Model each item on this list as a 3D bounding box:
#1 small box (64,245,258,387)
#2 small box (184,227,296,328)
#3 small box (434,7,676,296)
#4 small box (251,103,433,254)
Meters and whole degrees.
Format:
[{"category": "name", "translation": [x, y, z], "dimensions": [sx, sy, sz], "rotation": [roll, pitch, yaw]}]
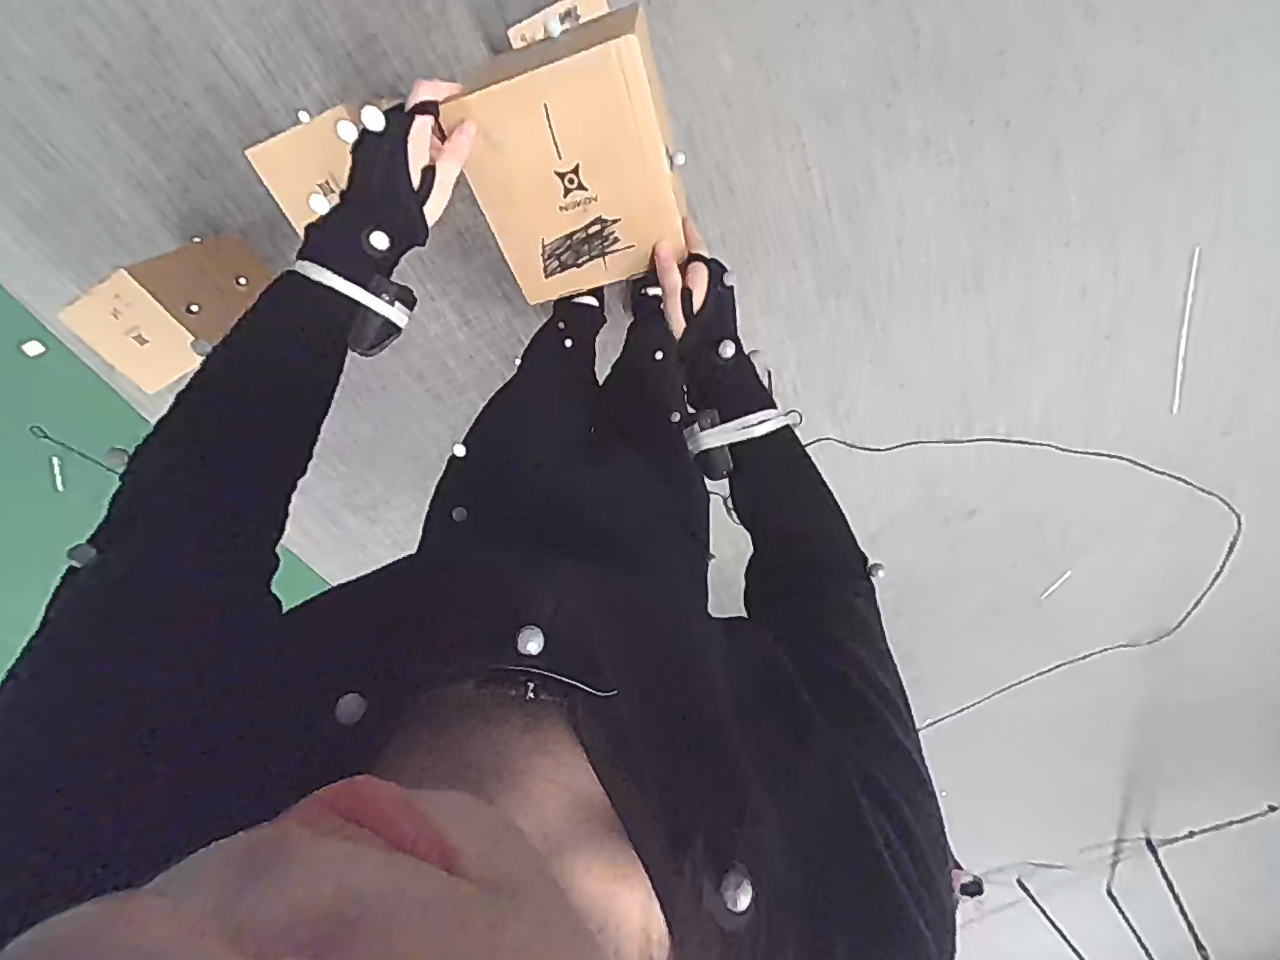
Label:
[{"category": "small box", "translation": [-0.876, -0.310, 1.014], "dimensions": [0.168, 0.176, 0.179], "rotation": [-24, 123, 11]}, {"category": "small box", "translation": [-0.884, -0.407, 1.147], "dimensions": [0.168, 0.176, 0.179], "rotation": [-22, 123, 11]}, {"category": "small box", "translation": [-0.061, -0.314, 0.525], "dimensions": [0.168, 0.176, 0.179], "rotation": [-10, 136, 13]}, {"category": "small box", "translation": [-0.481, -0.502, 0.904], "dimensions": [0.179, 0.176, 0.168], "rotation": [-18, 123, 9]}]
